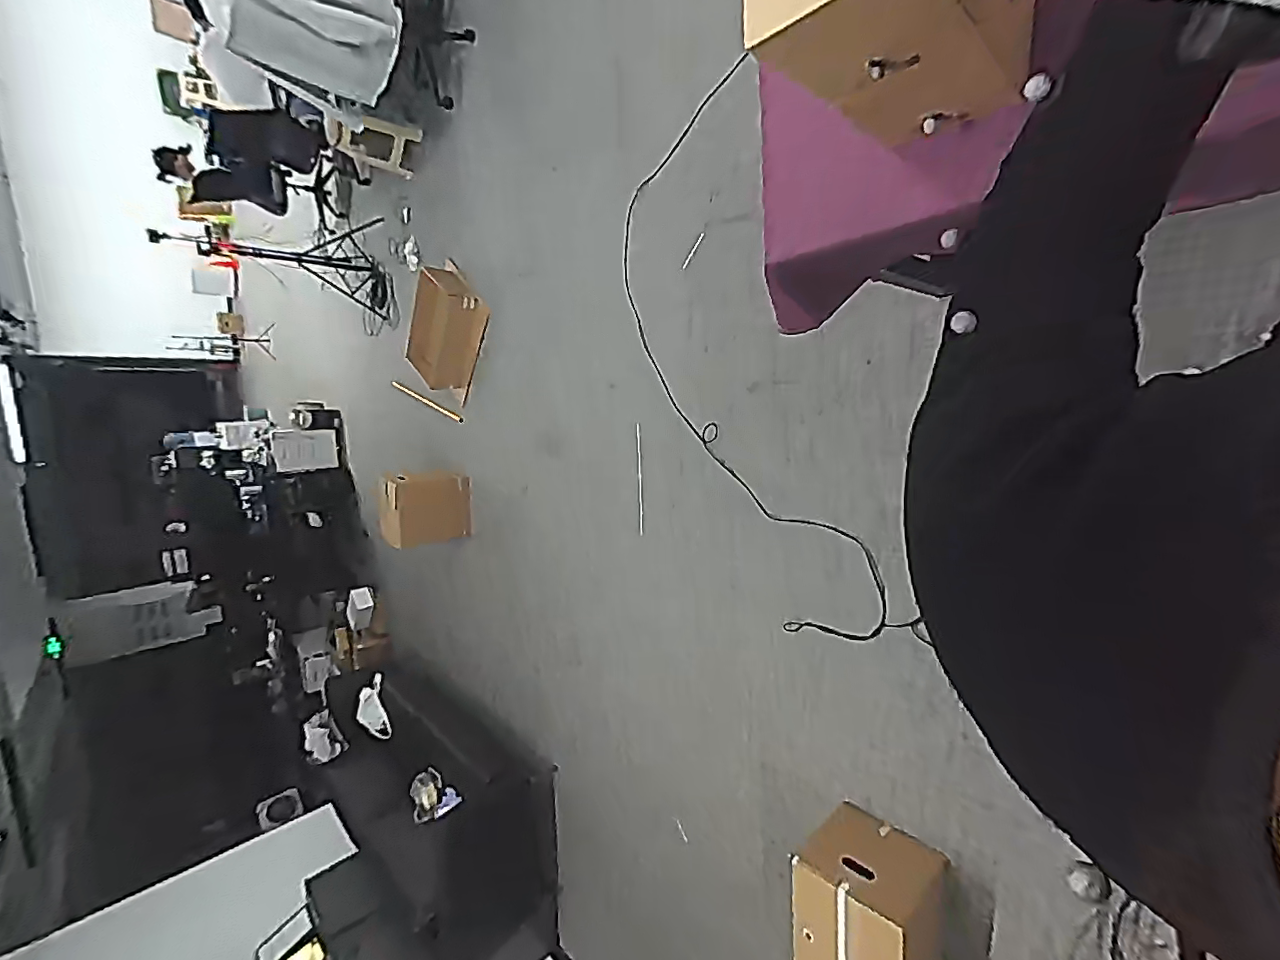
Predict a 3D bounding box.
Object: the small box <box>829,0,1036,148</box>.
[{"bbox_3d":[0.338,-0.524,0.626,0.168,0.176,0.179,8,104,46],"label":"small box"}]
